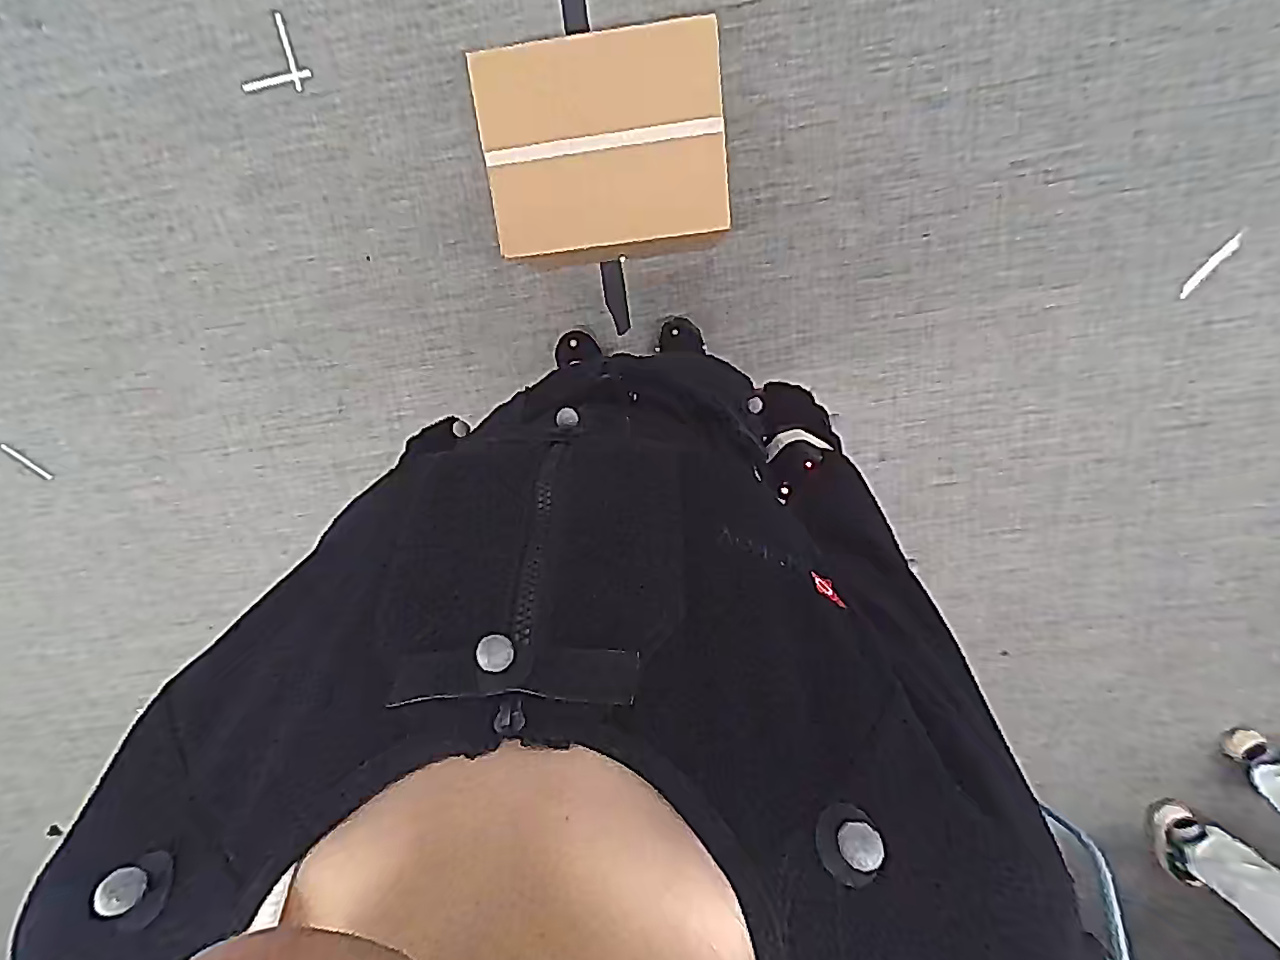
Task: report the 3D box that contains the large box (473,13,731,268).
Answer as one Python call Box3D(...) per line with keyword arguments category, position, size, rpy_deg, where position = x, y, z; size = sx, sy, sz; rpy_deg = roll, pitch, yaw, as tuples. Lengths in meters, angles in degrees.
Box3D(category="large box", position=(-0.054, -0.611, 1.048), size=(0.408, 0.320, 0.320), rpy_deg=(-6, 108, 4))
